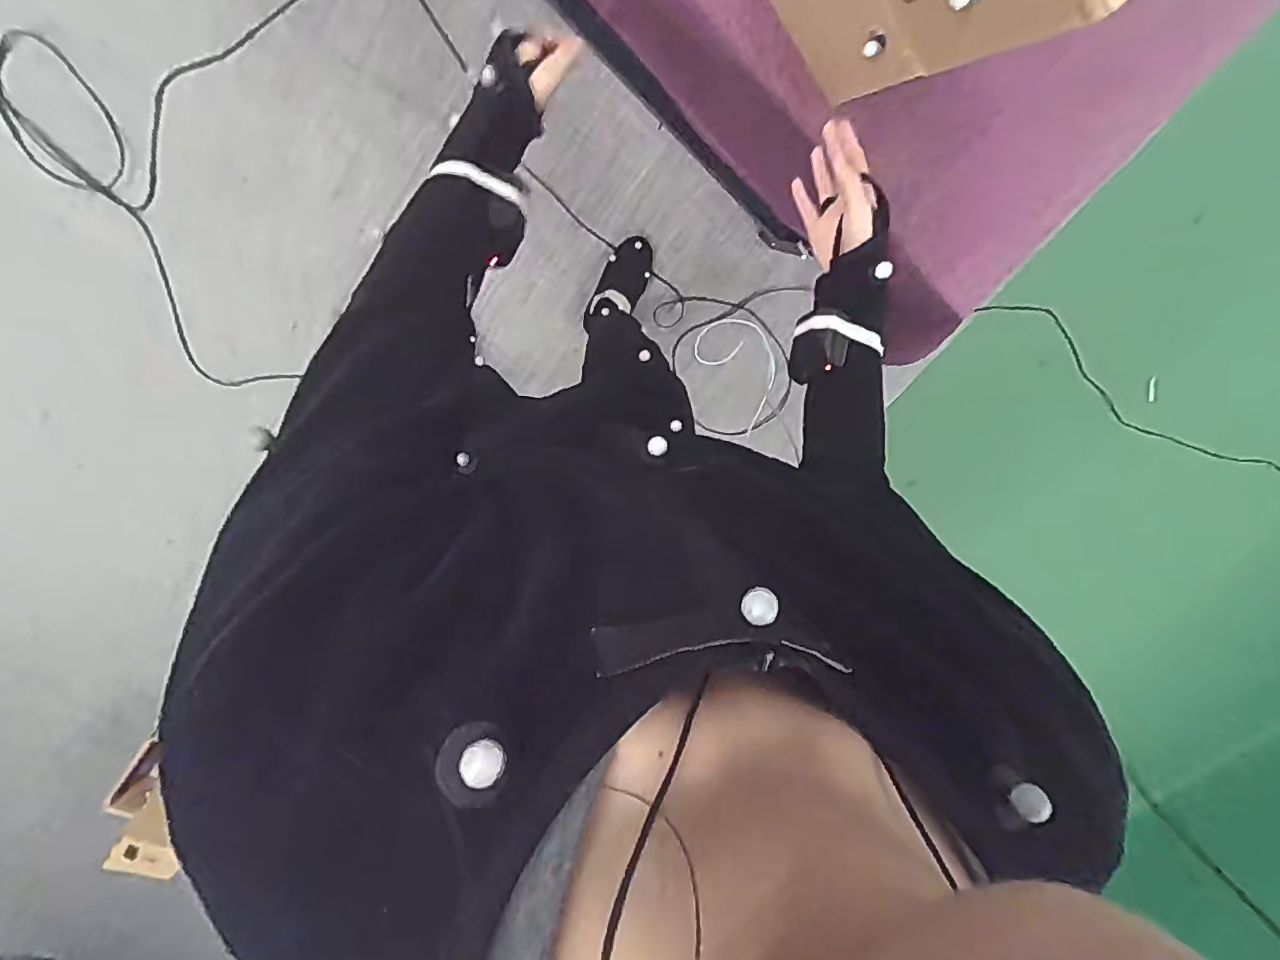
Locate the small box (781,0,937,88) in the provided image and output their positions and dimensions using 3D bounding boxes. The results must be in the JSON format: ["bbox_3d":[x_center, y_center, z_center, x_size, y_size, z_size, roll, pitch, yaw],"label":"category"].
[{"bbox_3d":[0.219,-0.478,0.455,0.168,0.176,0.179,-43,115,13],"label":"small box"}]

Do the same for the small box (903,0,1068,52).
[{"bbox_3d":[0.250,-0.403,0.314,0.179,0.176,0.168,-42,117,12],"label":"small box"}]
